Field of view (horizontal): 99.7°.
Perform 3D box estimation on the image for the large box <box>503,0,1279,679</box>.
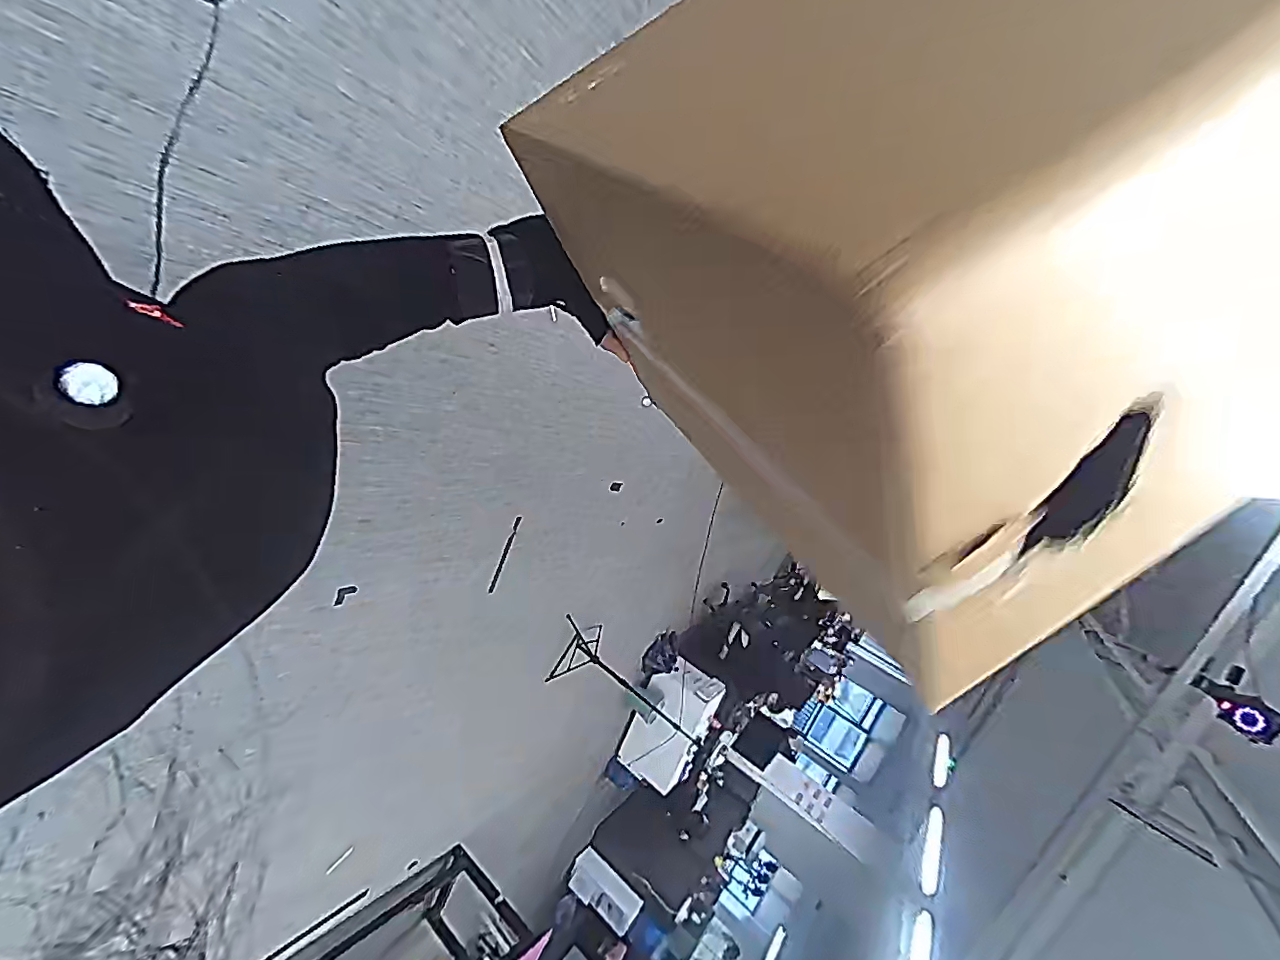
[{"bbox_3d":[0.157,-0.155,0.385,0.320,0.408,0.320,-35,133,-2],"label":"large box"}]
